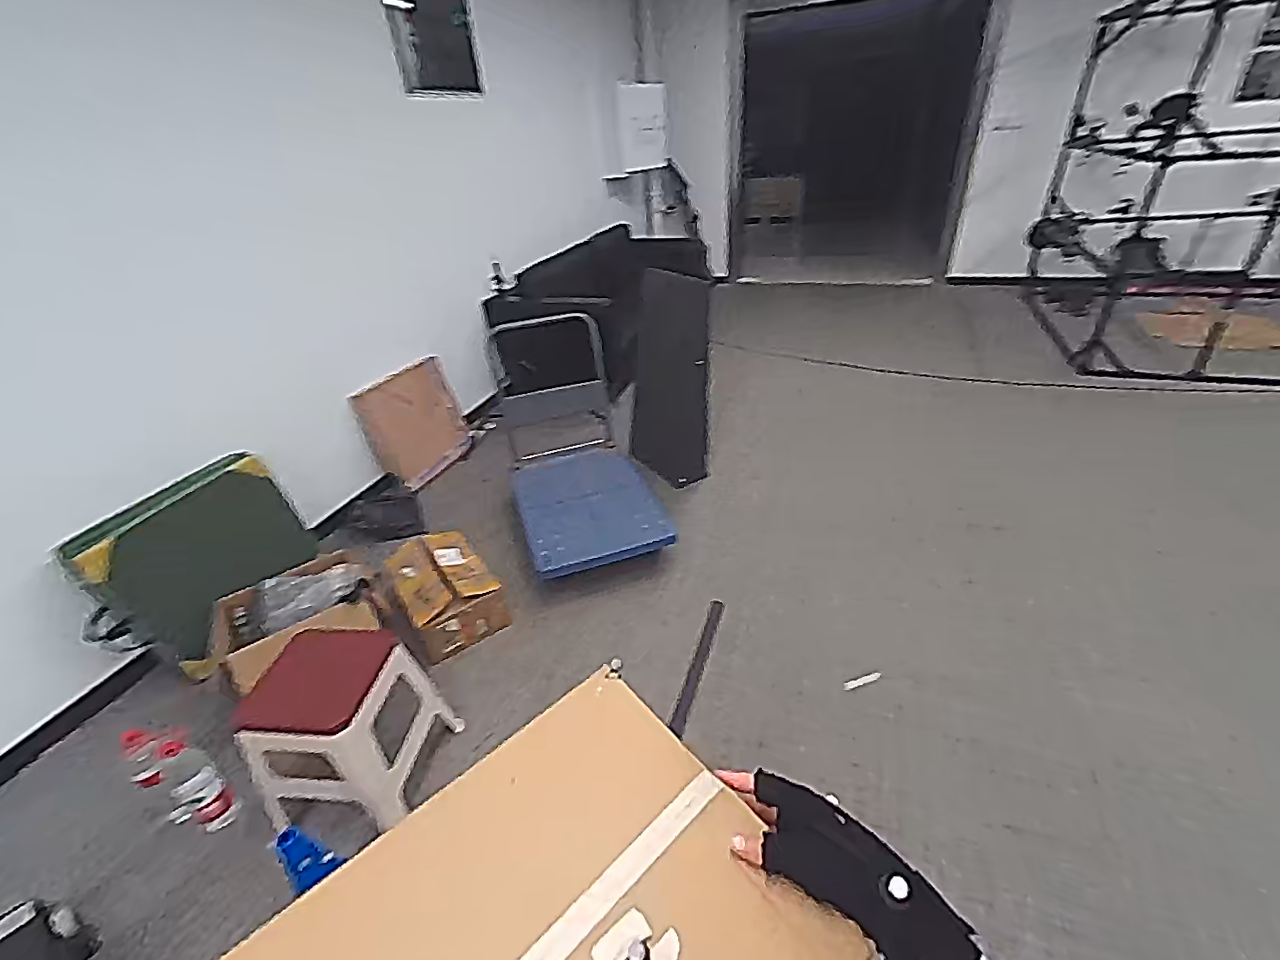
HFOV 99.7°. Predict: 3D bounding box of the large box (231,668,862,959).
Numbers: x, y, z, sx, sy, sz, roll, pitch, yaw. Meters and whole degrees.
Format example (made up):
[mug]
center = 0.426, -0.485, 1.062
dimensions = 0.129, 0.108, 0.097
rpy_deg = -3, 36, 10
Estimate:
[large box]
center = -0.073, 0.472, 0.487
dimensions = 0.408, 0.320, 0.320
rpy_deg = -29, 46, -31
